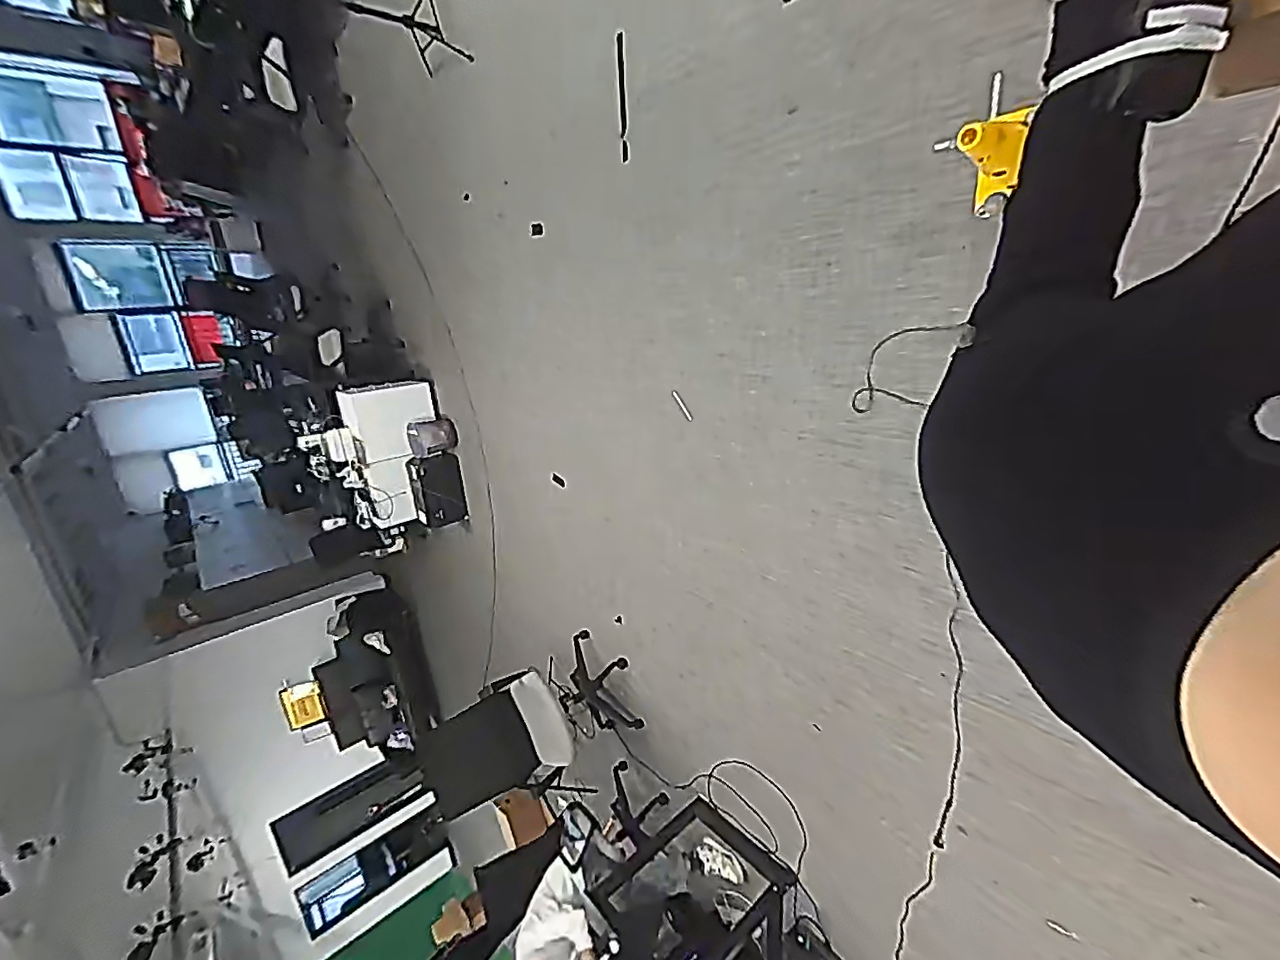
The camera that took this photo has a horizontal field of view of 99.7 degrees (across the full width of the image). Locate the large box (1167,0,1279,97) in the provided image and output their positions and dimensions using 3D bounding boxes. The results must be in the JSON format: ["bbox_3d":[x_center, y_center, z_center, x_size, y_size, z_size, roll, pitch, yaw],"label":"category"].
[{"bbox_3d":[0.572,-0.443,0.257,0.408,0.320,0.320,16,120,46],"label":"large box"}]
